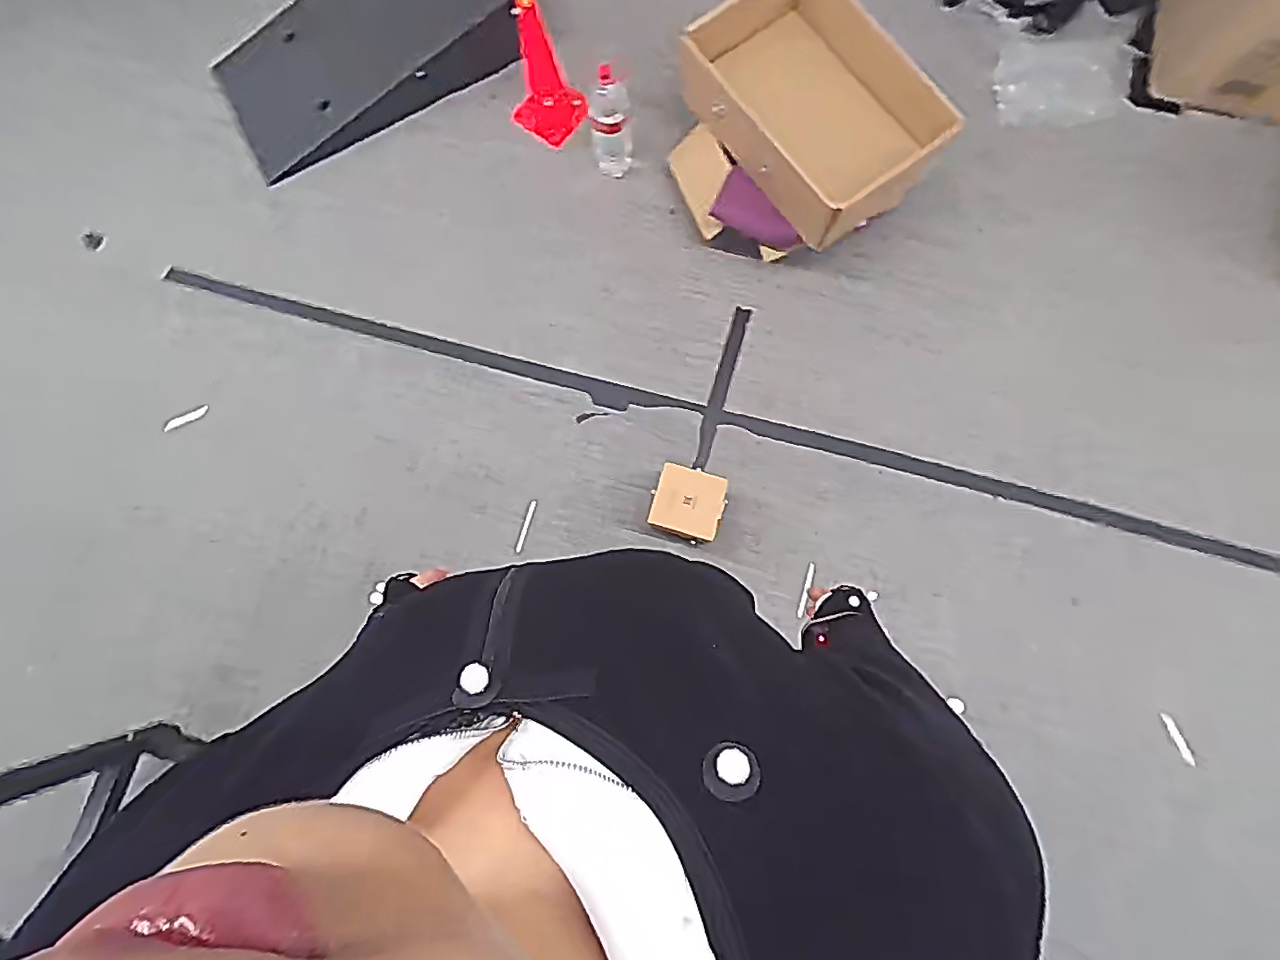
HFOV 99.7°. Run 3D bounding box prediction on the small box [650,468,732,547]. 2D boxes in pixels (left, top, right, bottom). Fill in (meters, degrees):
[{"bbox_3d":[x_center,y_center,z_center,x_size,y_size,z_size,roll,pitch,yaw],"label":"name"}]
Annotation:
[{"bbox_3d":[0.134,0.080,1.446,0.179,0.176,0.168,16,81,5],"label":"small box"}]
